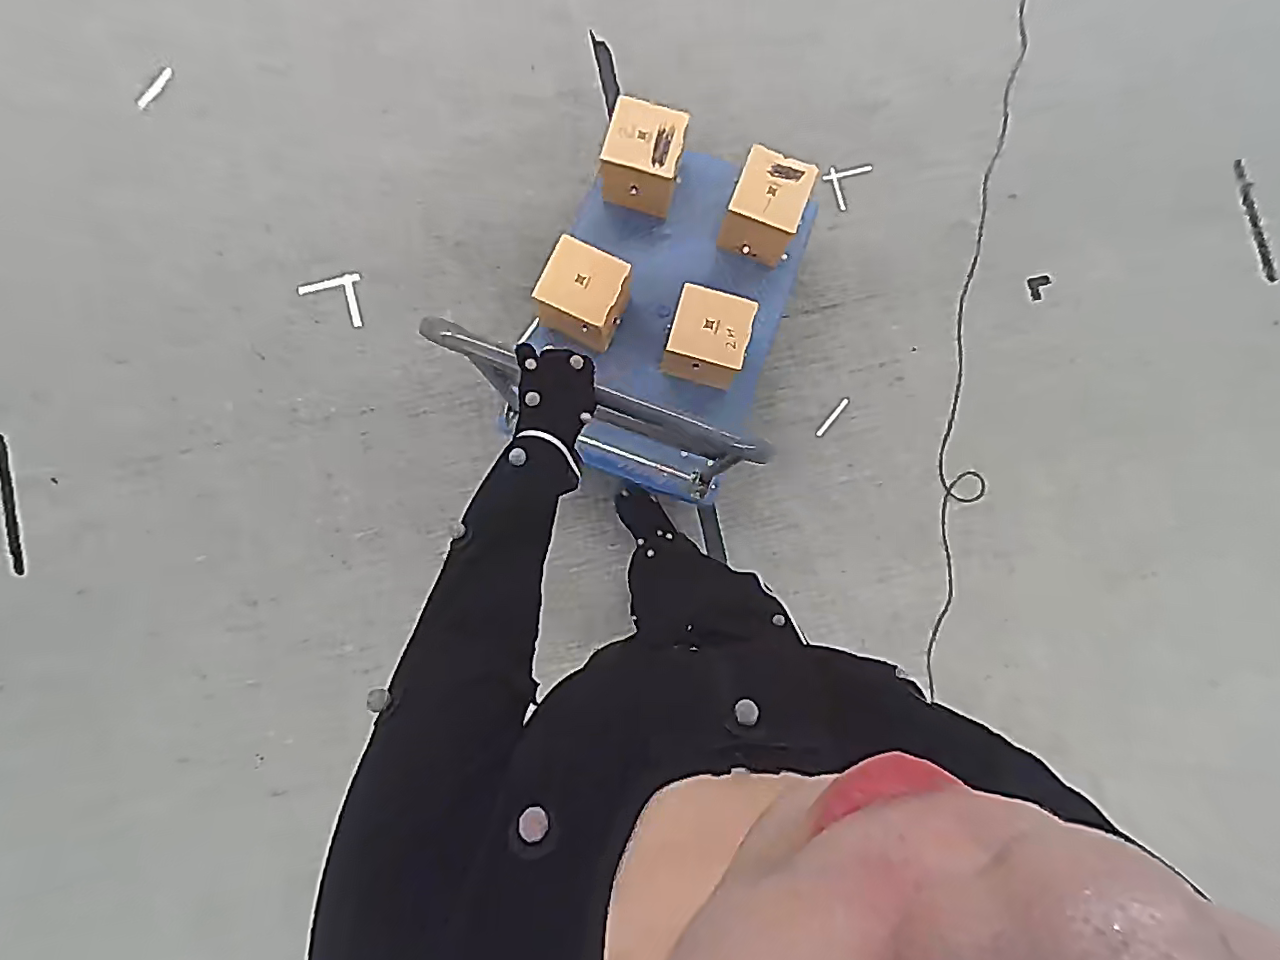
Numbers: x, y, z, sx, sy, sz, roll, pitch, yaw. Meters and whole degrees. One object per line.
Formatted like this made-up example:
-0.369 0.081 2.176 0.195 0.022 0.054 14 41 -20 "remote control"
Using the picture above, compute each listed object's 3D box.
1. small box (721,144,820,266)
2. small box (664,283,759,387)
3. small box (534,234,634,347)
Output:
0.309 -0.664 1.323 0.168 0.176 0.179 22 85 0 "small box"
0.161 -0.336 1.286 0.179 0.176 0.168 17 84 0 "small box"
-0.130 -0.441 1.289 0.179 0.176 0.168 25 84 -1 "small box"
